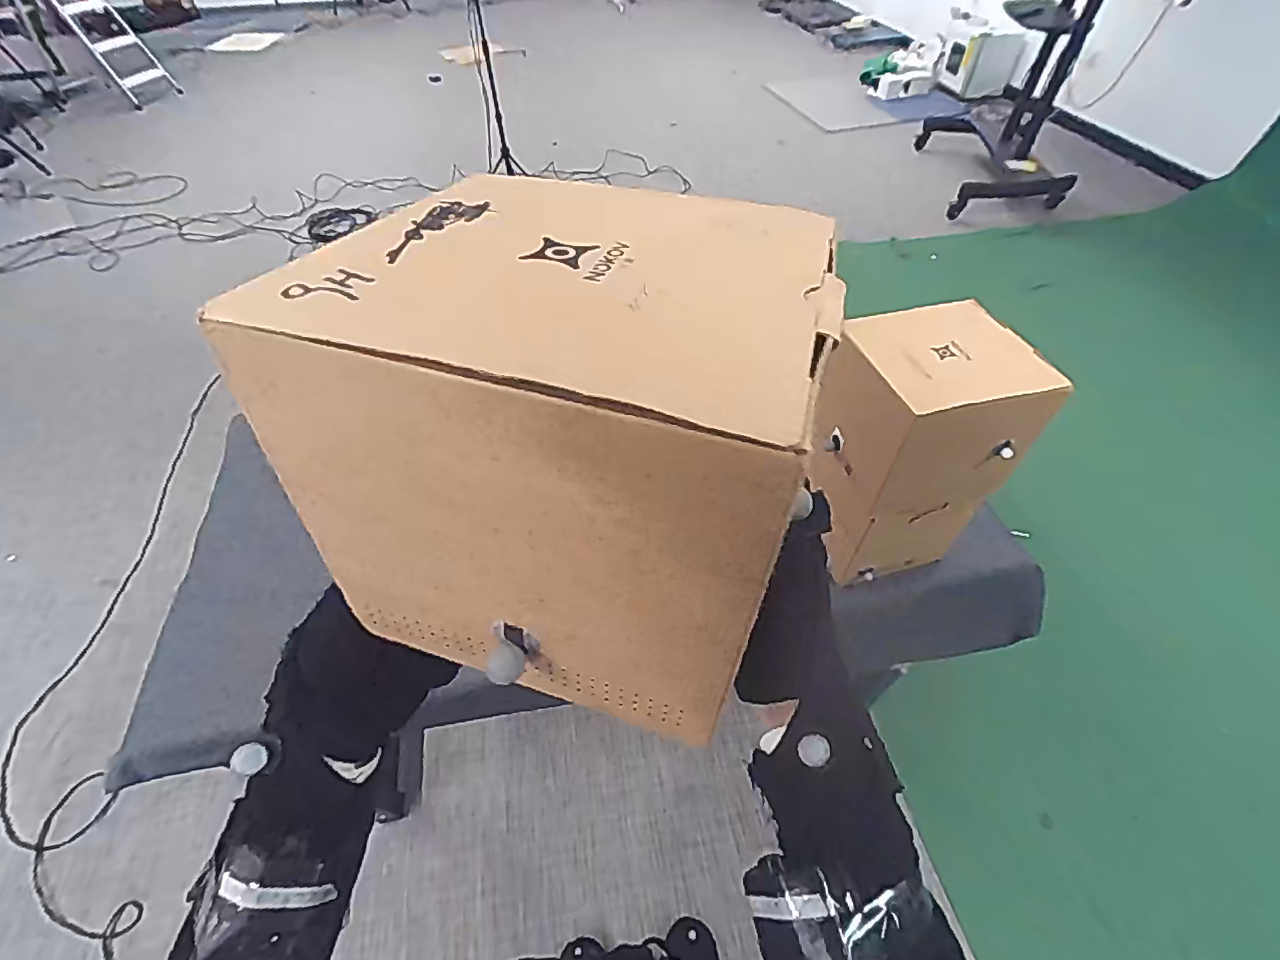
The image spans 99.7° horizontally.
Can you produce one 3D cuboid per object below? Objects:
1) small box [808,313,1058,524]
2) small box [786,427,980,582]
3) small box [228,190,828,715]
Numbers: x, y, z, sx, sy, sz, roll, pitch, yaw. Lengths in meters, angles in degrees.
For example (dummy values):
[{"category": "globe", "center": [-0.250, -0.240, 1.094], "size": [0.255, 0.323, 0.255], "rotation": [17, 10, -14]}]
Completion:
[{"category": "small box", "center": [0.326, -0.071, 0.646], "size": [0.179, 0.176, 0.168], "rotation": [-12, 49, -7]}, {"category": "small box", "center": [0.328, 0.027, 0.775], "size": [0.168, 0.176, 0.179], "rotation": [-13, 49, -9]}, {"category": "small box", "center": [-0.026, -0.015, 0.260], "size": [0.179, 0.176, 0.168], "rotation": [14, 43, 10]}]
